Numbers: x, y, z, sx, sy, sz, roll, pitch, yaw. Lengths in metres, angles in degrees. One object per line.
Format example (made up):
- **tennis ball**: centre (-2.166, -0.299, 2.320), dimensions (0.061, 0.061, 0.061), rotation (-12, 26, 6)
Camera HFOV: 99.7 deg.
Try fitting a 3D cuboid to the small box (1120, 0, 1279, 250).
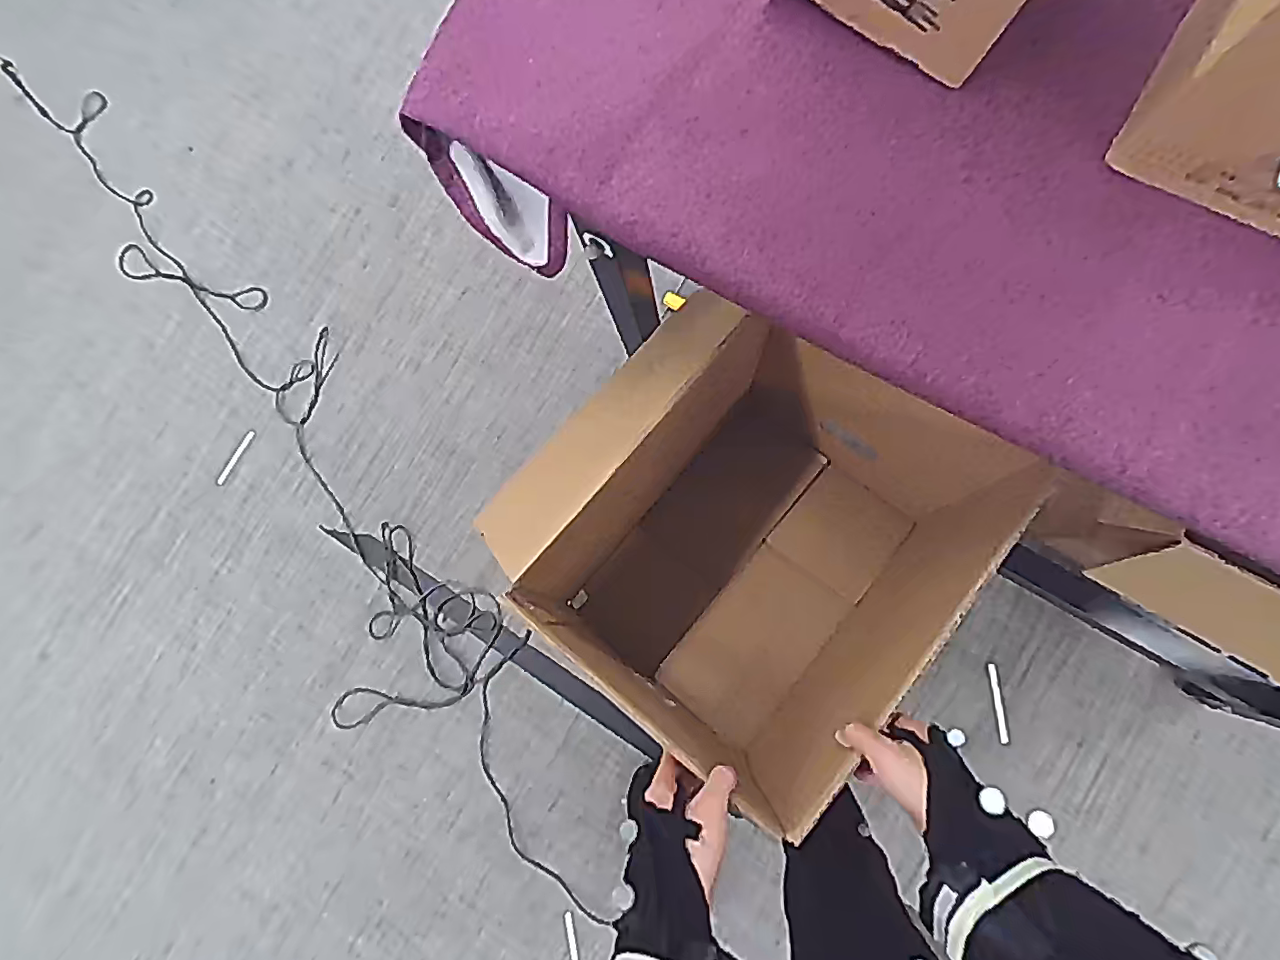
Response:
- **small box**: centre (0.406, -0.245, 0.268), dimensions (0.168, 0.176, 0.179), rotation (30, 88, 9)
